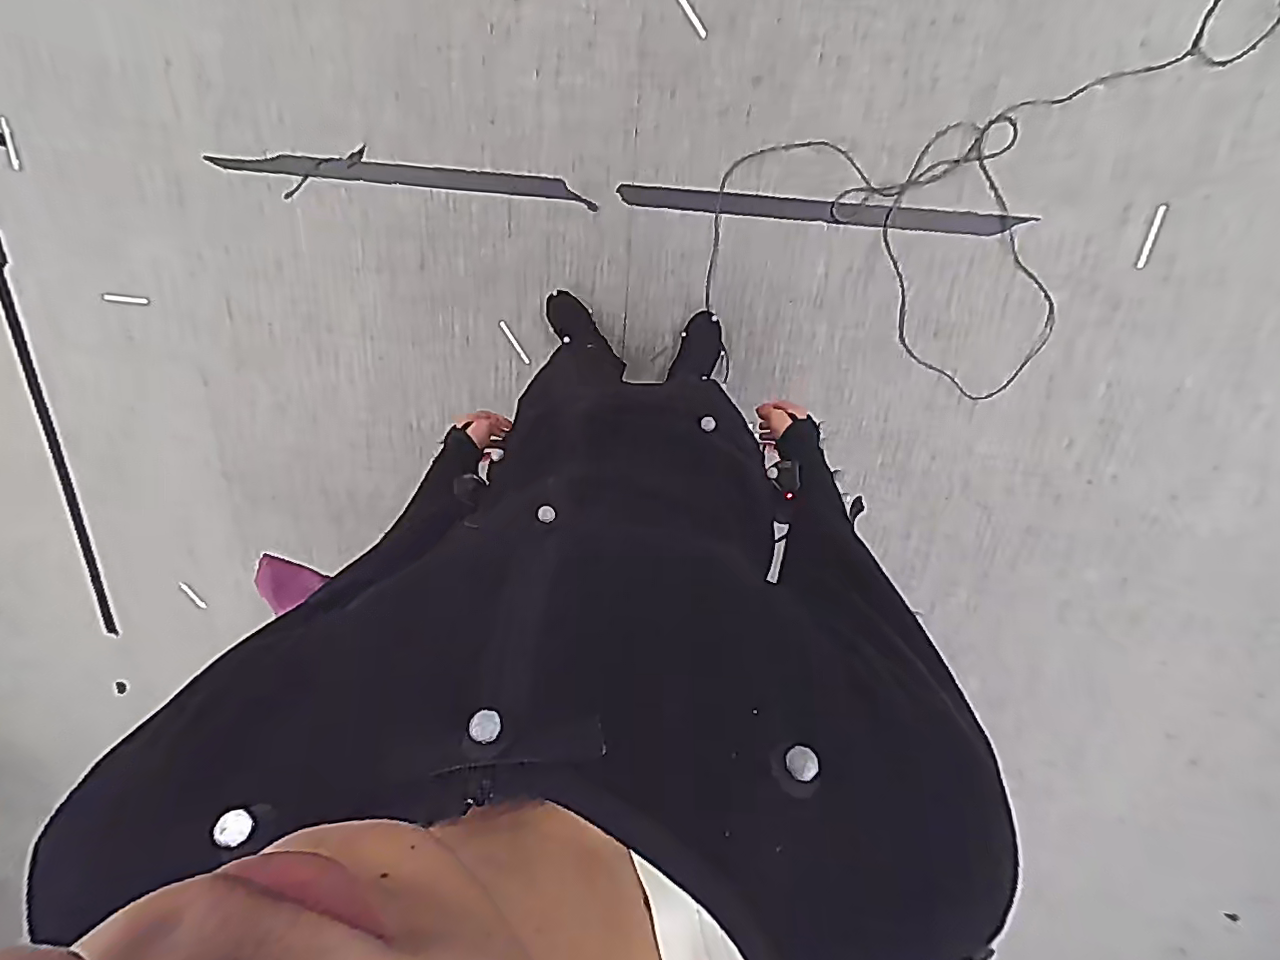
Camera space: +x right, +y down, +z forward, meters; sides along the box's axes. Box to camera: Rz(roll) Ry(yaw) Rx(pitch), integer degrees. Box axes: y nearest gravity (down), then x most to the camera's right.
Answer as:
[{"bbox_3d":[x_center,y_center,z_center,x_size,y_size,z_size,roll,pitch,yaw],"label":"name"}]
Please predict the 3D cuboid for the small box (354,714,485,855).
[{"bbox_3d":[-0.429,0.595,1.076,0.179,0.176,0.168,4,110,7],"label":"small box"}]

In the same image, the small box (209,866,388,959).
[{"bbox_3d":[-0.482,0.687,0.765,0.179,0.176,0.168,1,110,8],"label":"small box"}]
